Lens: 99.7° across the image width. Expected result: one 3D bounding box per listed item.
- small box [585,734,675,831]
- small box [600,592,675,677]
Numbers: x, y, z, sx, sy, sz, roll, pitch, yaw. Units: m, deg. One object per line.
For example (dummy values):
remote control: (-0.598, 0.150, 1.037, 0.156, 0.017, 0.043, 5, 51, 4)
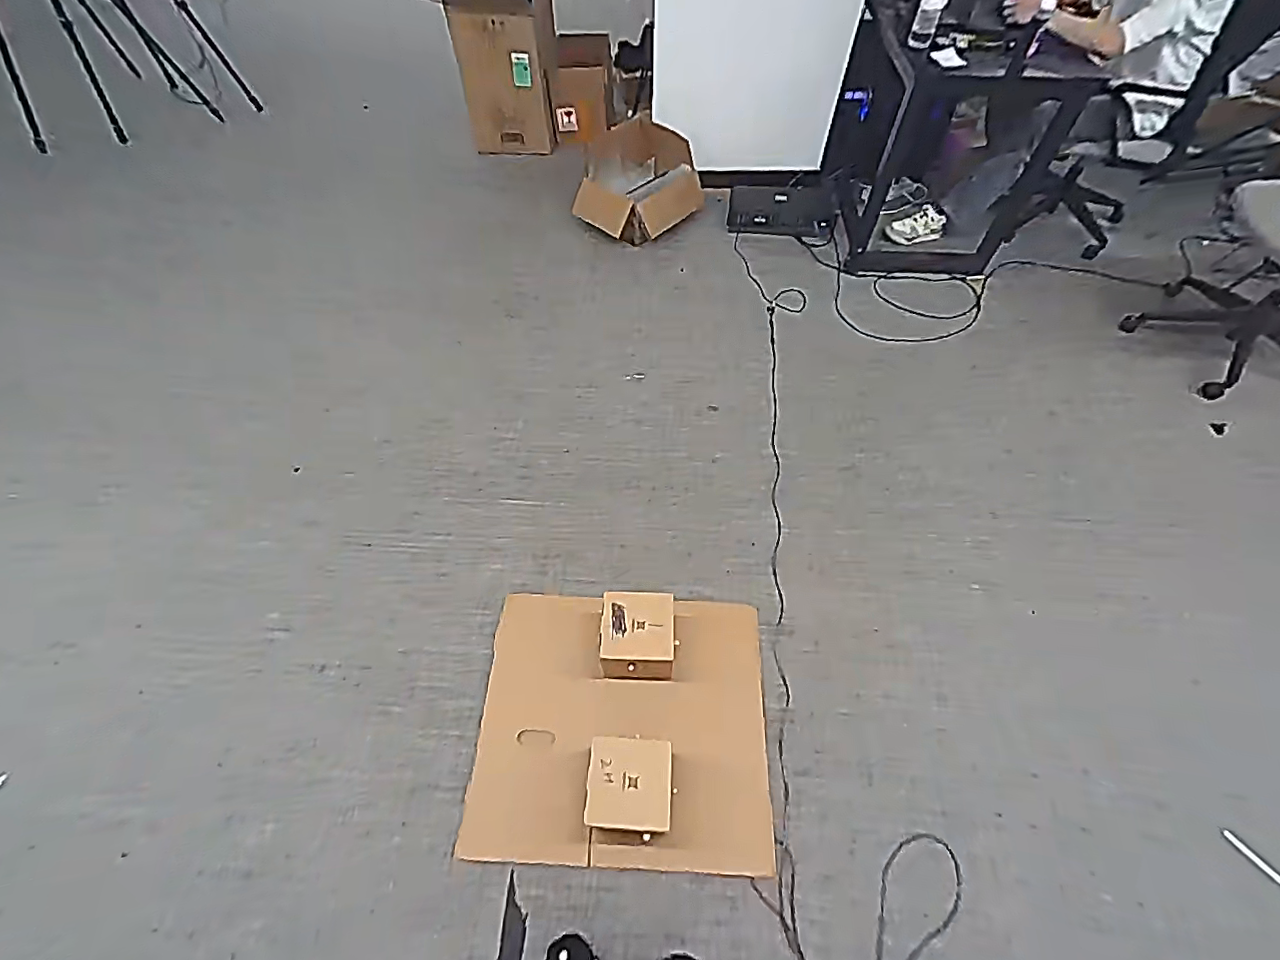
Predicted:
small box: (-0.016, 0.667, 1.190, 0.179, 0.176, 0.168, 2, 56, 5)
small box: (-0.002, 0.395, 1.371, 0.179, 0.176, 0.168, 1, 57, 2)
